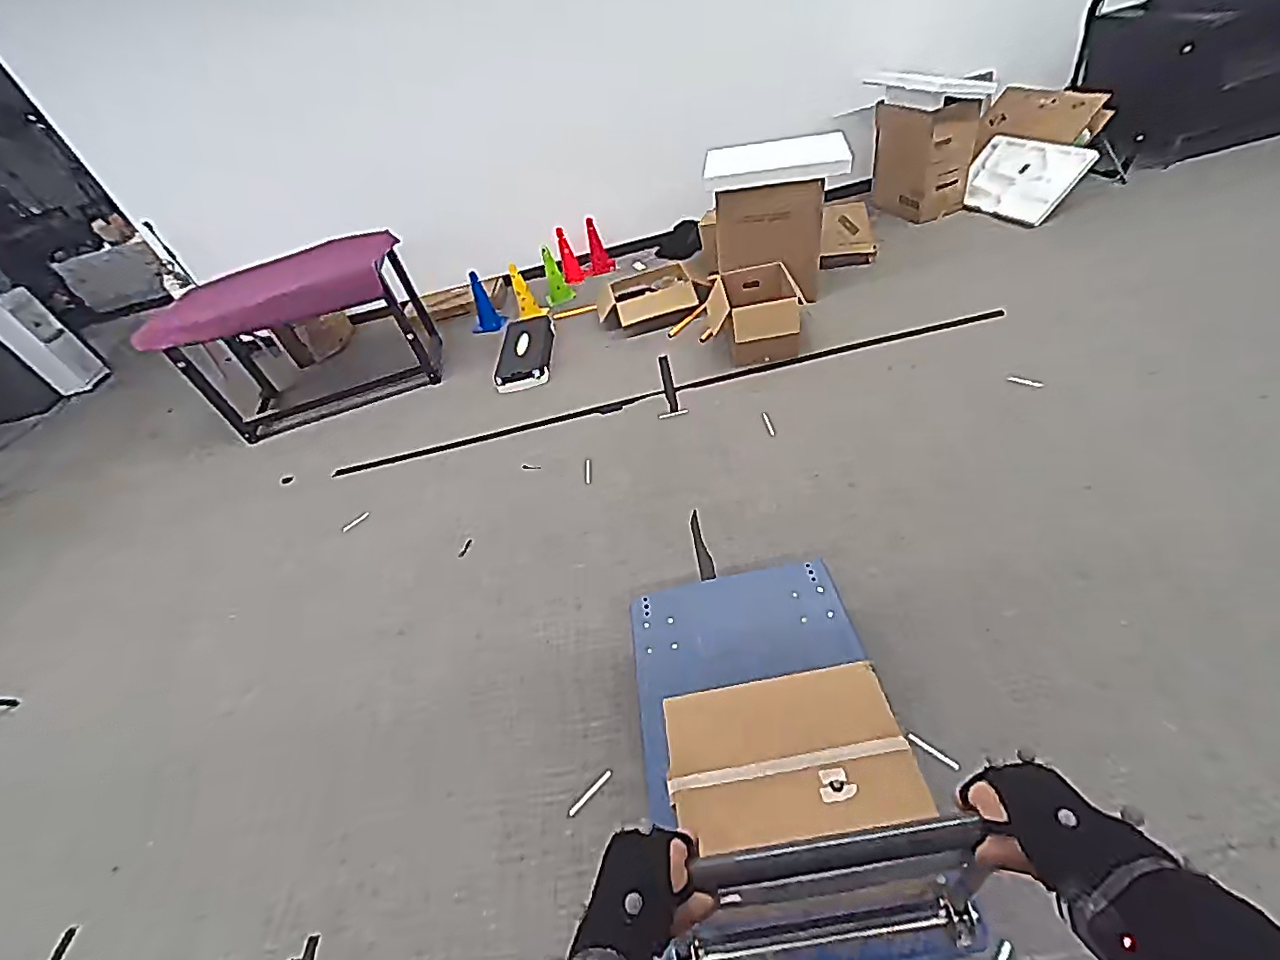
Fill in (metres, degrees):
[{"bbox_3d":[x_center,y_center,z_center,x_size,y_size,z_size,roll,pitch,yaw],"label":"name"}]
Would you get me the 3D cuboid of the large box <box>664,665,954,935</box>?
[{"bbox_3d":[0.281,0.596,1.007,0.408,0.320,0.320,-12,43,3],"label":"large box"}]
